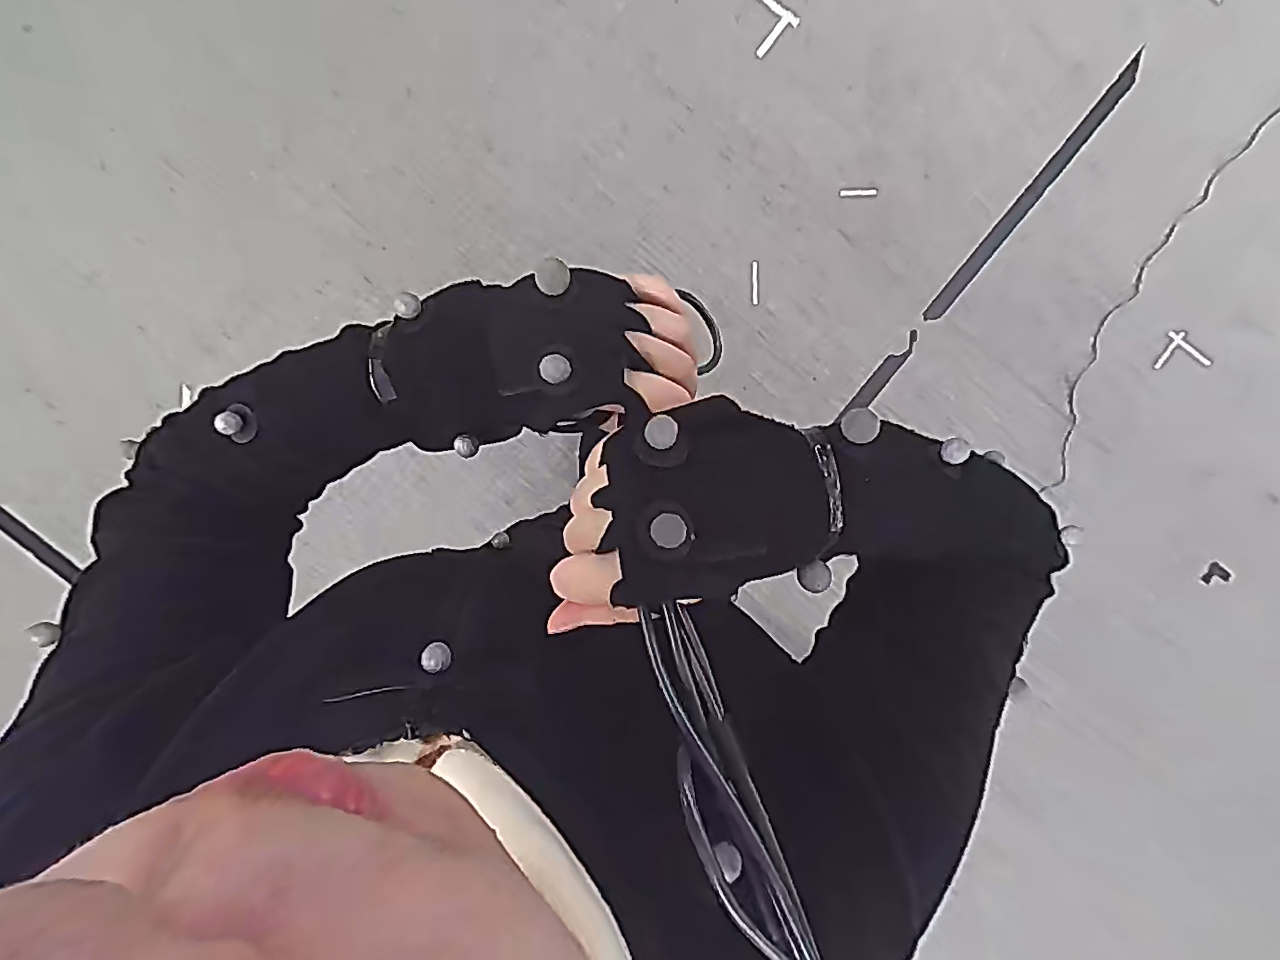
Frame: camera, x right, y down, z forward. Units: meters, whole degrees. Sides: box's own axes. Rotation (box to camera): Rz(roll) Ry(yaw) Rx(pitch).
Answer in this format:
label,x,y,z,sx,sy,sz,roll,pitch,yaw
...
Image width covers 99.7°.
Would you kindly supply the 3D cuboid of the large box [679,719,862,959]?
label,x,y,z,sx,sy,sz,roll,pitch,yaw
large box,0.260,0.788,1.170,0.320,0.320,0.408,-1,90,-2
